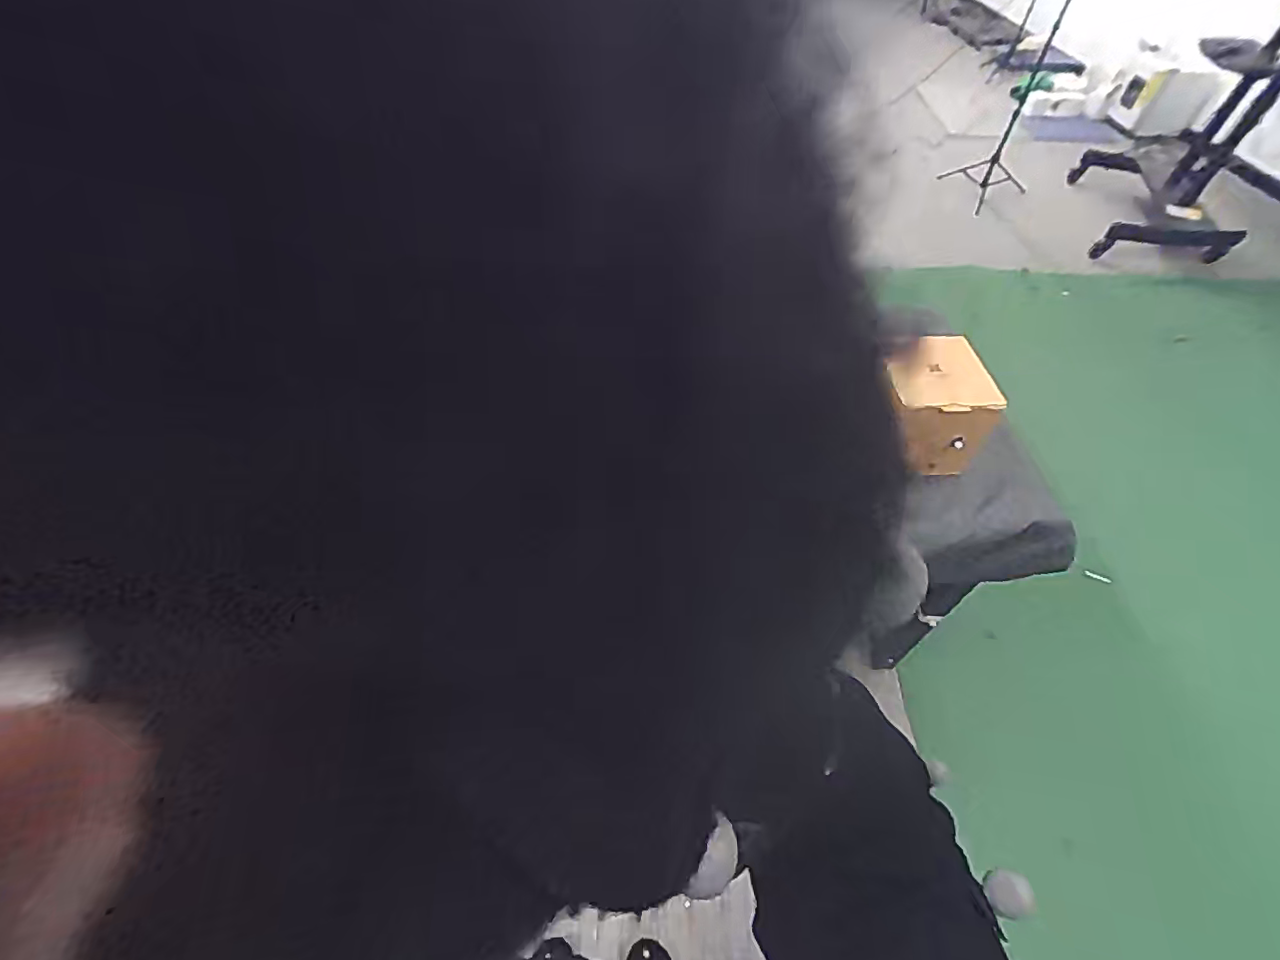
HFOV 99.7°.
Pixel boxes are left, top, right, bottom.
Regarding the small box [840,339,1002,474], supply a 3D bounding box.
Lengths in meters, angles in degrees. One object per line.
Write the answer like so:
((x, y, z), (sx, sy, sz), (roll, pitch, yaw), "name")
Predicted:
((0.469, -0.123, 0.935), (0.168, 0.176, 0.179), (-1, 49, -2), "small box")
